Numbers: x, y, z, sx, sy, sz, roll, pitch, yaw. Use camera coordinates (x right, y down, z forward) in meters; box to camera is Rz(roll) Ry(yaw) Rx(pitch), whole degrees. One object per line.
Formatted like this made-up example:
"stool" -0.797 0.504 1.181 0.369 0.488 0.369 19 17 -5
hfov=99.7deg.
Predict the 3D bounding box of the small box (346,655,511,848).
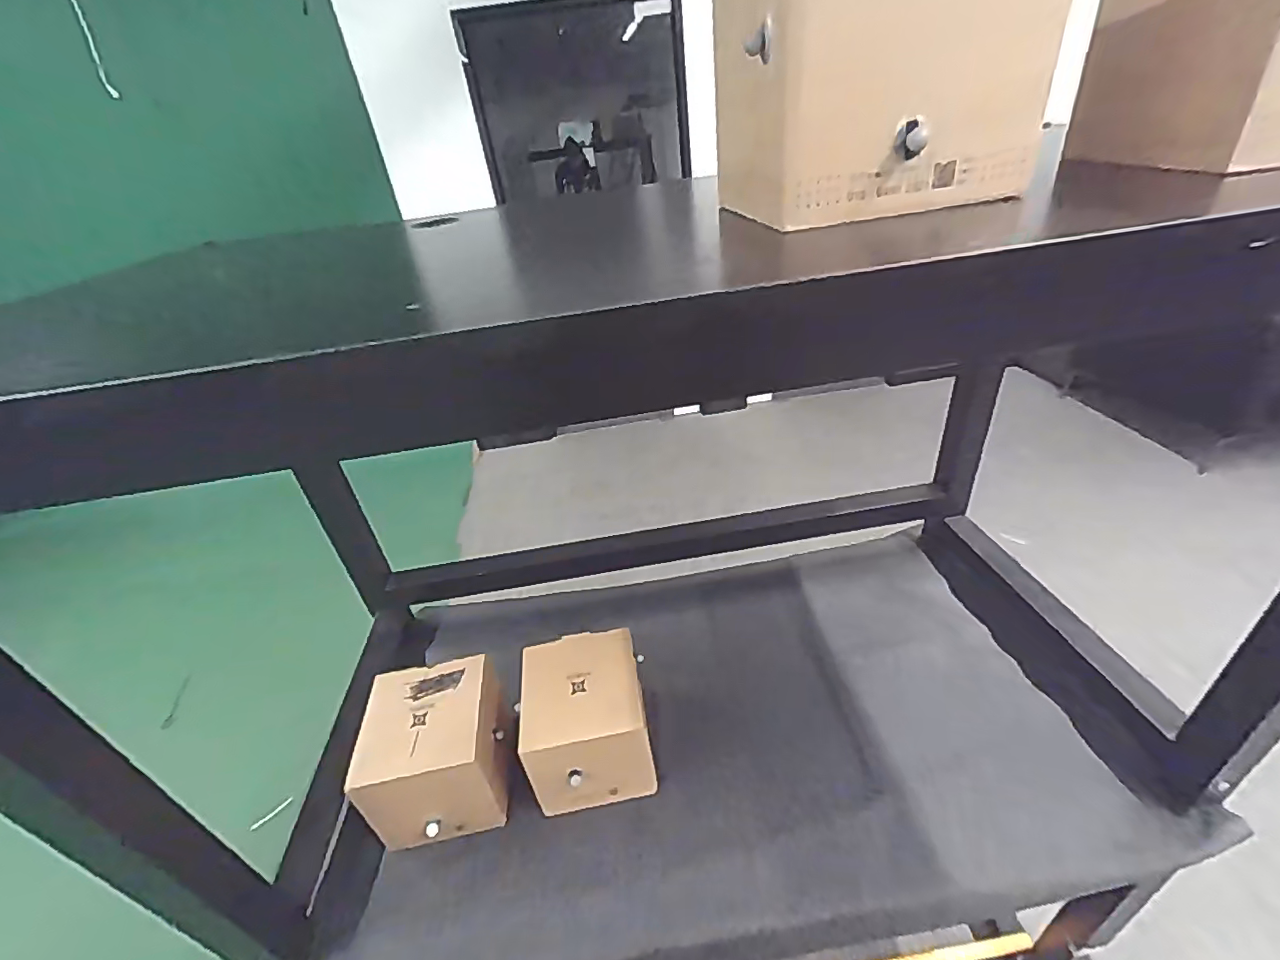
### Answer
"small box" -0.291 0.391 0.789 0.168 0.176 0.179 -11 33 -3

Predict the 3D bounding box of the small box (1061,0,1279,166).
"small box" 0.422 -0.307 0.344 0.168 0.176 0.179 -4 32 7
